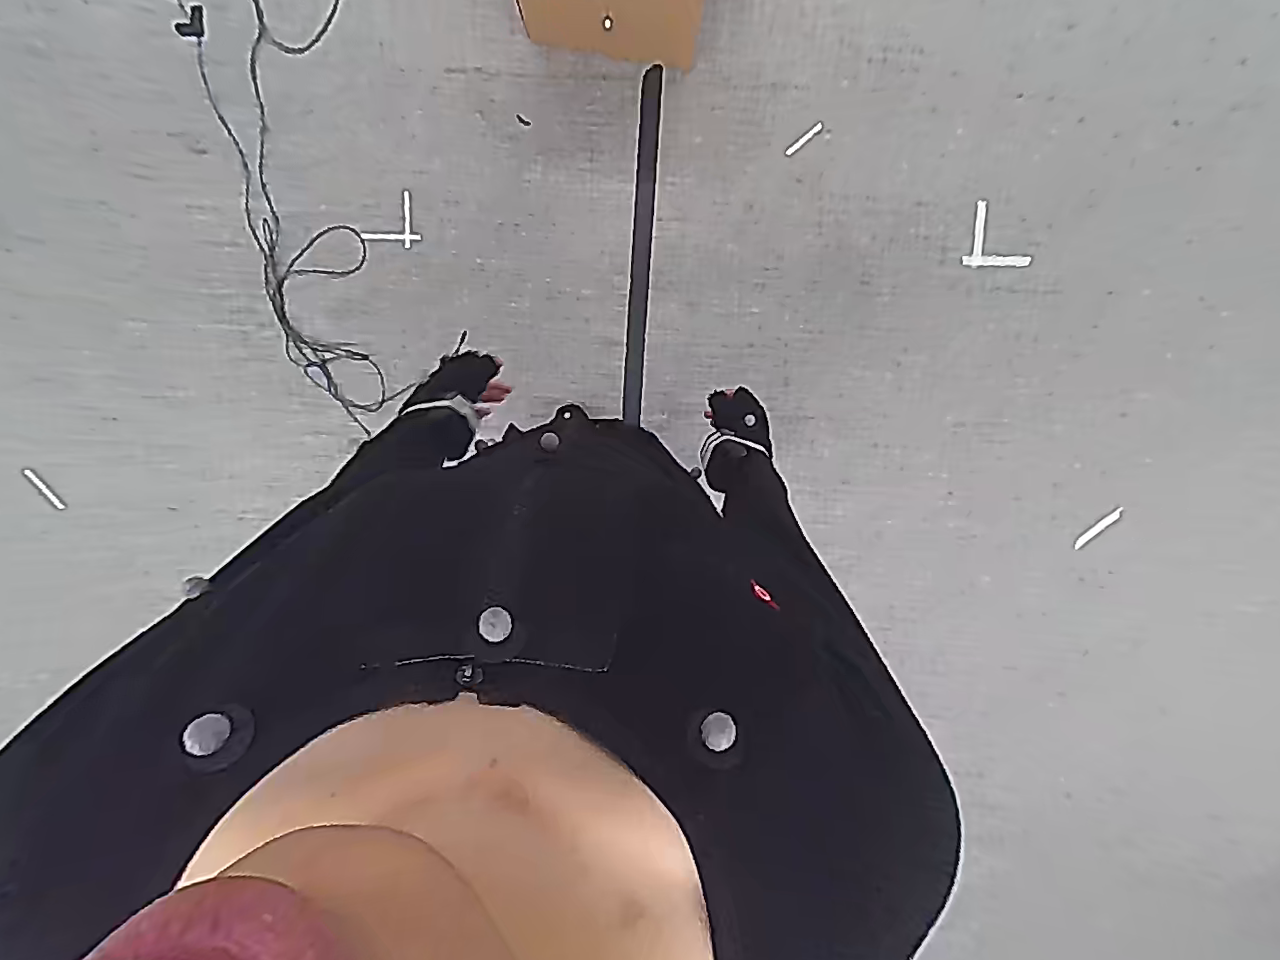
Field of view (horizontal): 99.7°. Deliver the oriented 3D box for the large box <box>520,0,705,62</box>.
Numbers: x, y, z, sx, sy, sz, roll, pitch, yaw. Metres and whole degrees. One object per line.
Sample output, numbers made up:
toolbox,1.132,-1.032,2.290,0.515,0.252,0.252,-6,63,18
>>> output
large box,-0.048,-1.168,1.156,0.408,0.320,0.320,8,99,-1
